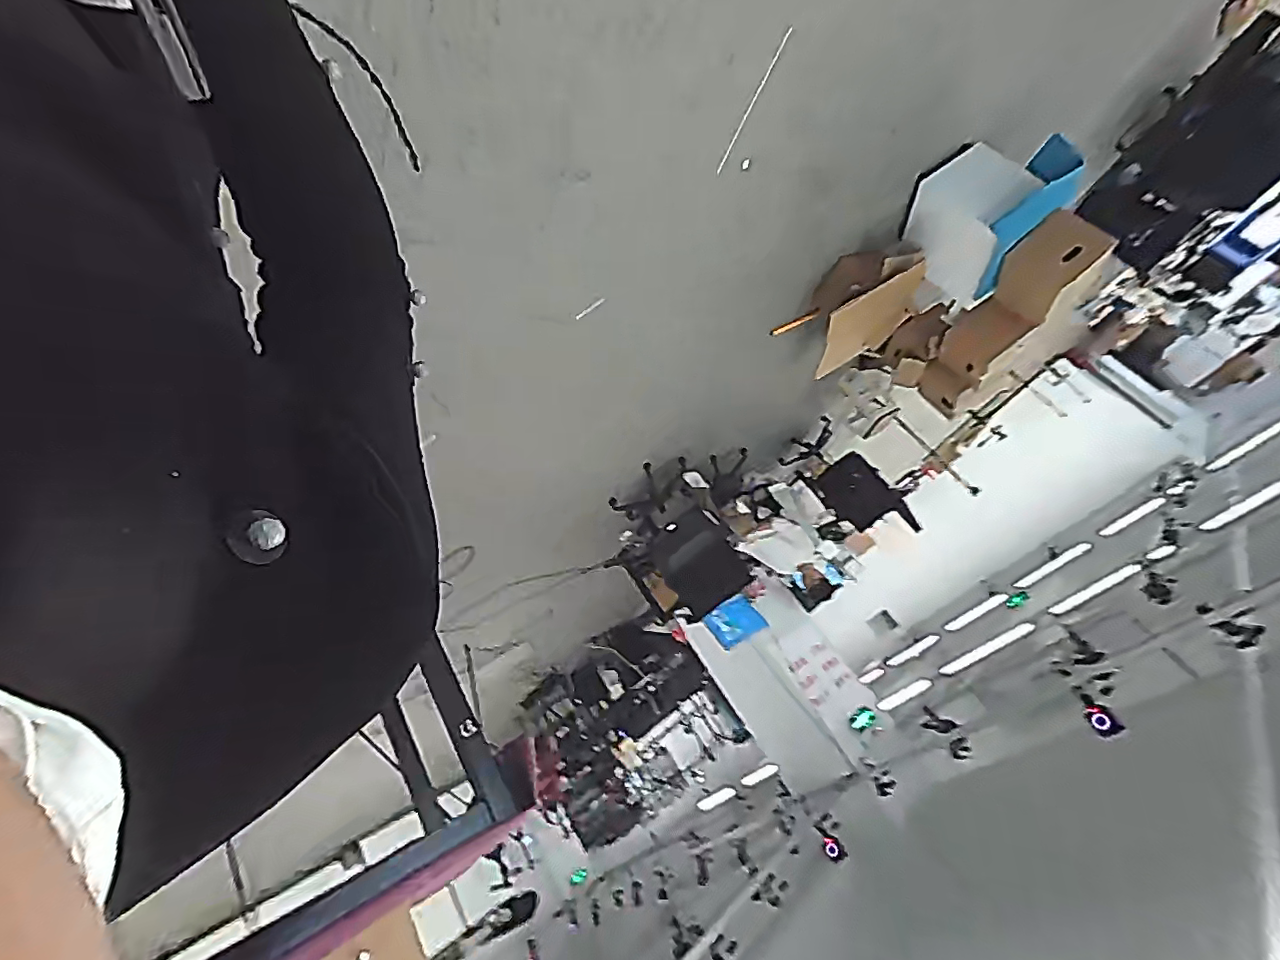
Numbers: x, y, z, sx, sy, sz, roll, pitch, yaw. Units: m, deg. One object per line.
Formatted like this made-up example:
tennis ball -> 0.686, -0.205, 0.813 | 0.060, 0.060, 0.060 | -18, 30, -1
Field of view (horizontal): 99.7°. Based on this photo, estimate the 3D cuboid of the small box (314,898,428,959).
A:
small box -> -0.481, 0.890, 0.950 | 0.179, 0.176, 0.168 | -12, 147, -41
